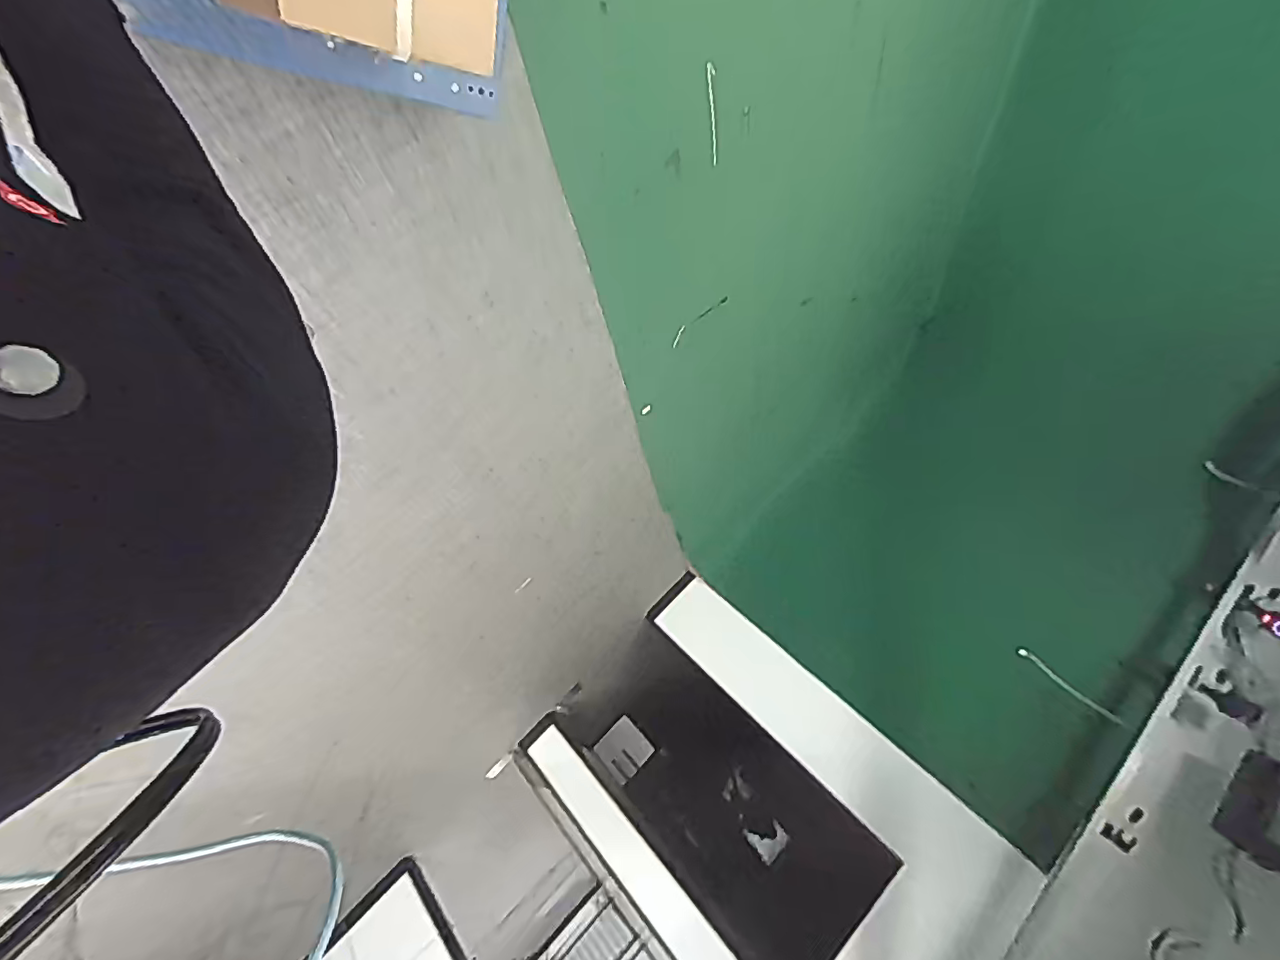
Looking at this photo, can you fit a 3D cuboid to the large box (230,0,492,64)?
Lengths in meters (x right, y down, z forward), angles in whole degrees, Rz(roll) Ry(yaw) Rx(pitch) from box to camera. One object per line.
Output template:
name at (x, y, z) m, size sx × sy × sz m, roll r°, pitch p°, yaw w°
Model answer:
large box at (-0.417, -0.885, 0.766) m, size 0.320 × 0.320 × 0.408 m, roll -20°, pitch 137°, yaw -42°
